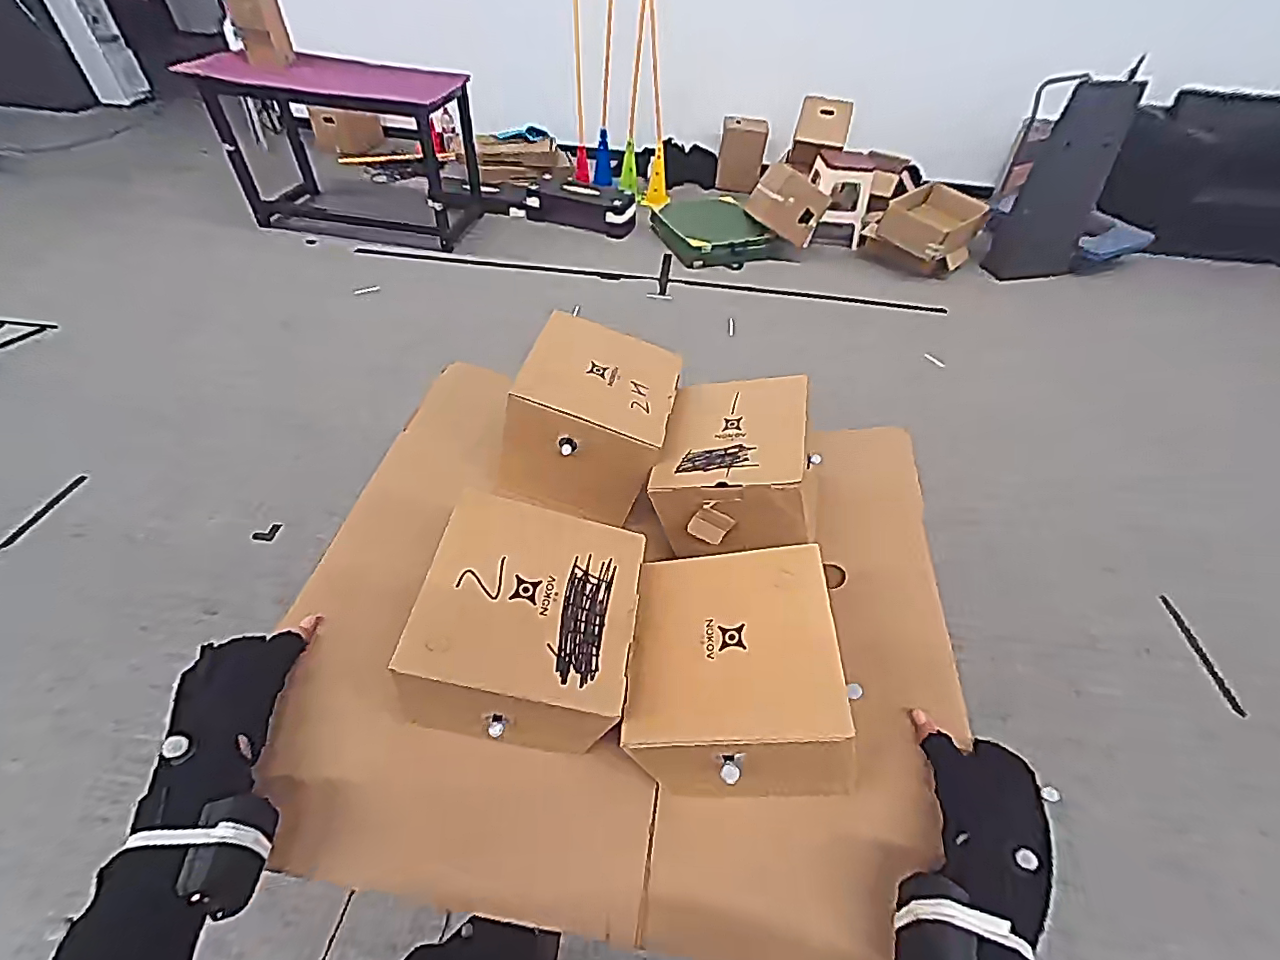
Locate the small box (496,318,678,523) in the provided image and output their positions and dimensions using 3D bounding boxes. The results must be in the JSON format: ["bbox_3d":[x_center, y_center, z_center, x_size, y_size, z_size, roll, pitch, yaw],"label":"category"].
[{"bbox_3d":[-0.072,-0.069,0.692,0.179,0.176,0.168,20,50,-5],"label":"small box"}]
